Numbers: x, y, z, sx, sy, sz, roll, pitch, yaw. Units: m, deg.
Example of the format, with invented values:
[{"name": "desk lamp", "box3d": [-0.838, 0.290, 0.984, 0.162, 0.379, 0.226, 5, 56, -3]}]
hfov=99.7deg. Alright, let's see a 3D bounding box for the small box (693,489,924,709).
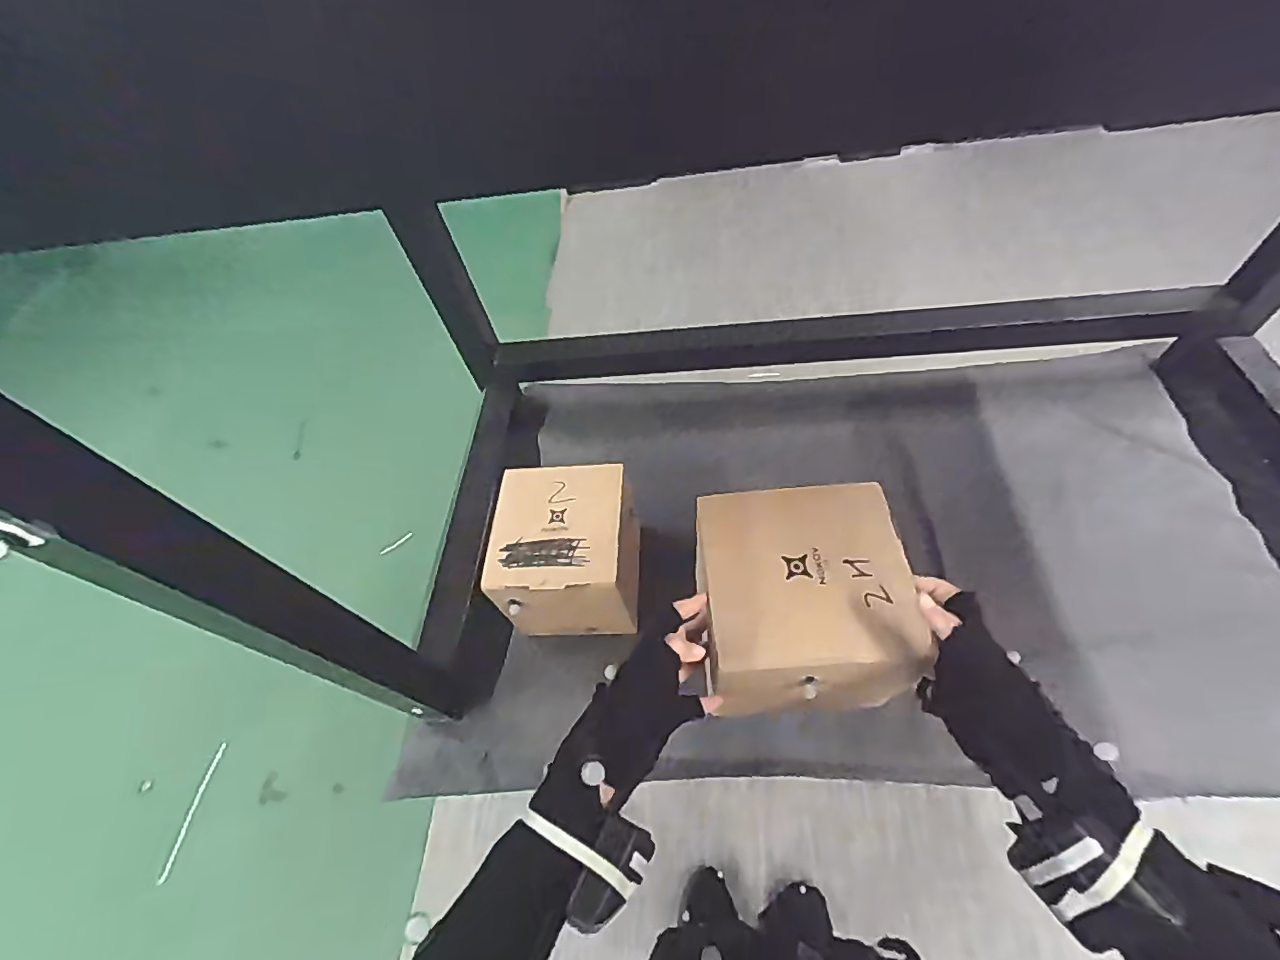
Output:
[{"name": "small box", "box3d": [0.148, 0.127, 0.548, 0.179, 0.176, 0.168, -4, 56, 2]}]
